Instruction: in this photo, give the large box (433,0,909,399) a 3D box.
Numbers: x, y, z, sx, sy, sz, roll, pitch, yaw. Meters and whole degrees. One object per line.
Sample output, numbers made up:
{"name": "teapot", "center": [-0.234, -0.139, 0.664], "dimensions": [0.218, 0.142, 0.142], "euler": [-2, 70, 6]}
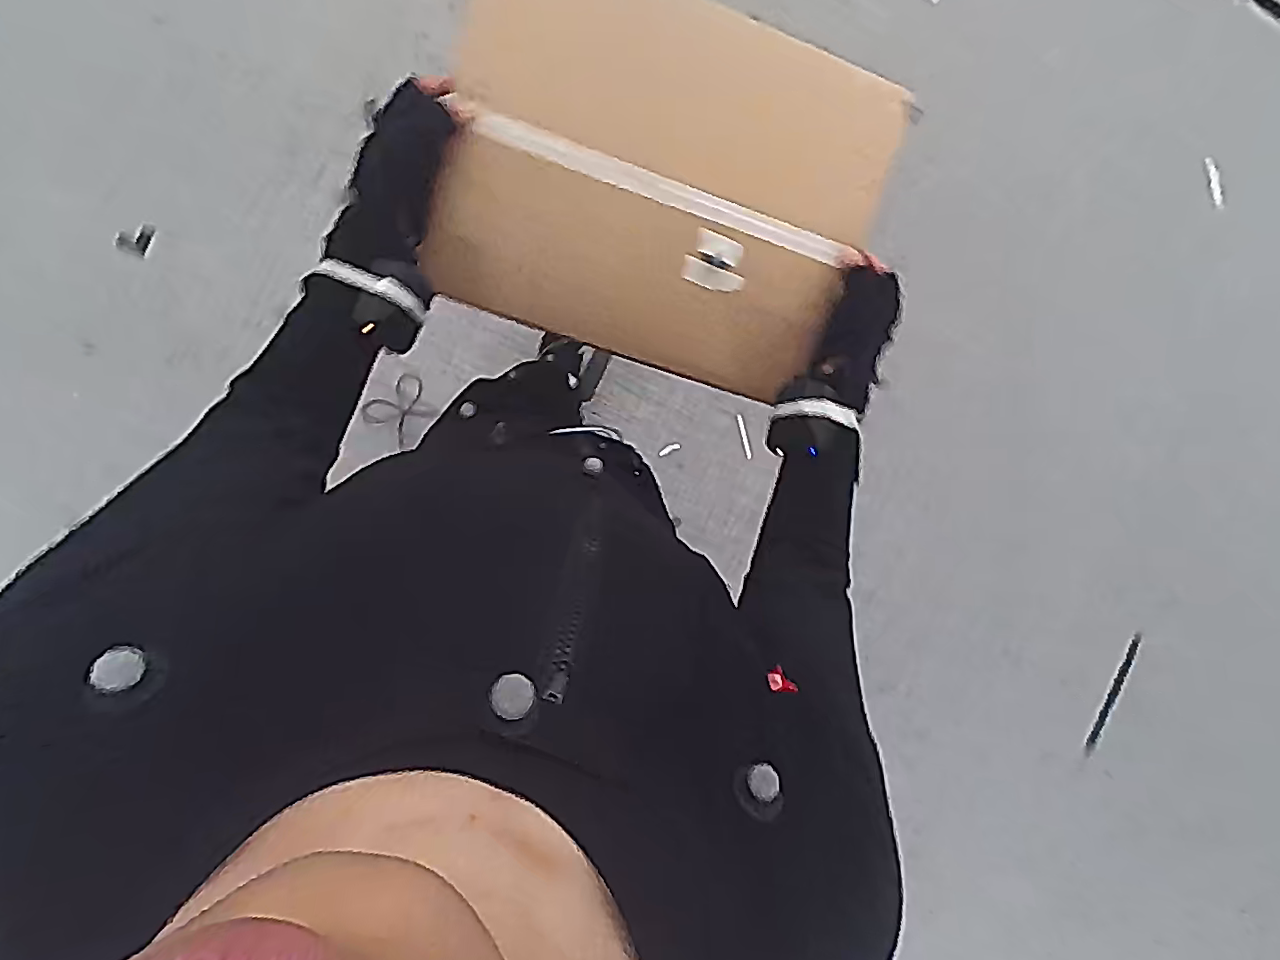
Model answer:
{"name": "large box", "center": [0.014, -0.320, 0.666], "dimensions": [0.408, 0.320, 0.320], "euler": [17, 104, -10]}
